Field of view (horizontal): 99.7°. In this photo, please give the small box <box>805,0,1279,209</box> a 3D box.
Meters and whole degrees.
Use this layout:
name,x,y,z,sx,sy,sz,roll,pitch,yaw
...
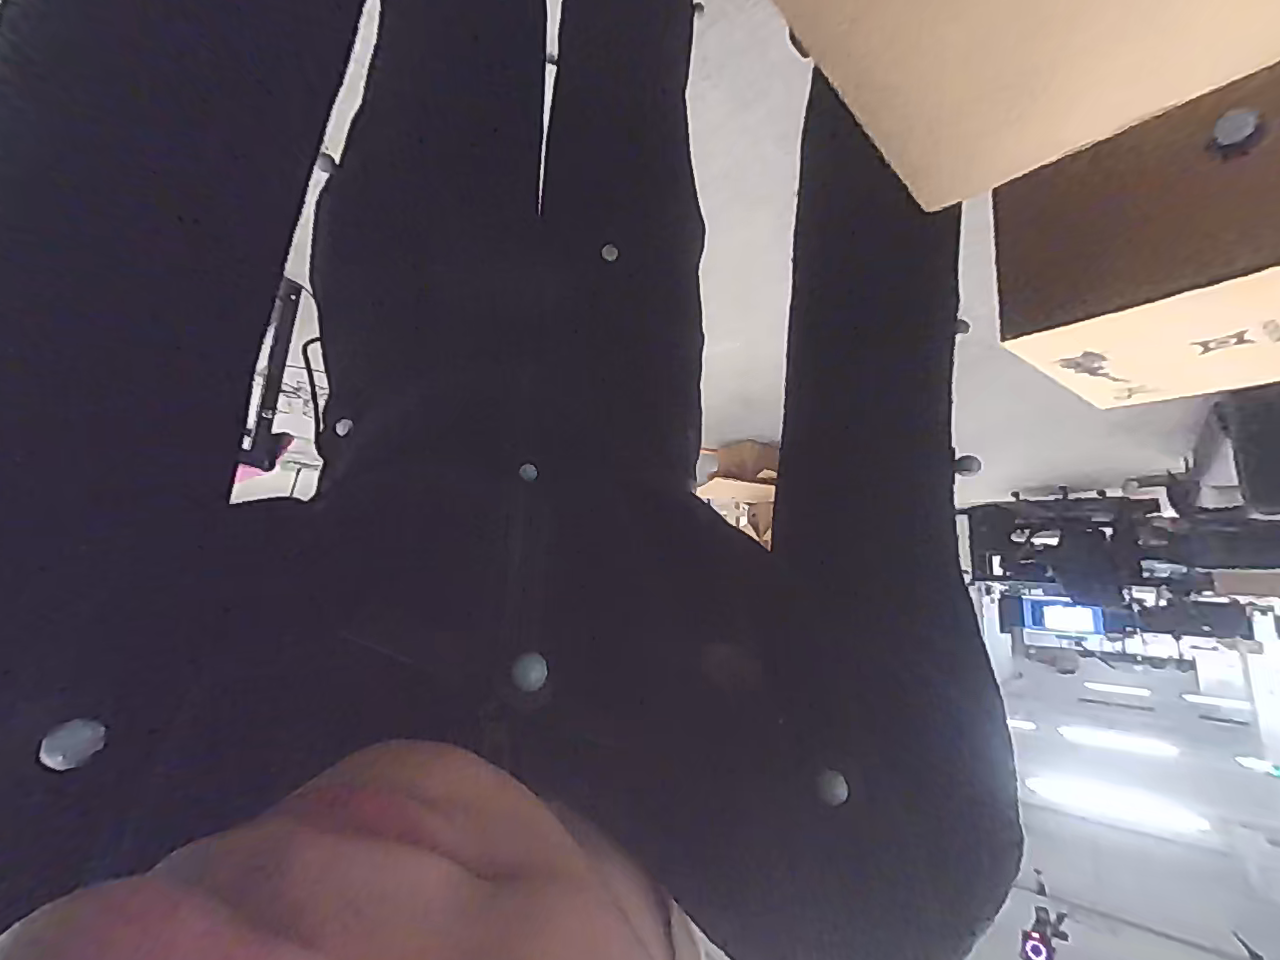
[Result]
name,x,y,z,sx,sy,sz,roll,pitch,yaw
small box,0.126,-0.209,0.114,0.168,0.176,0.179,16,163,-41

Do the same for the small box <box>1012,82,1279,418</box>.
name,x,y,z,sx,sy,sz,roll,pitch,yaw
small box,0.336,-0.150,0.301,0.168,0.176,0.179,12,166,-33
